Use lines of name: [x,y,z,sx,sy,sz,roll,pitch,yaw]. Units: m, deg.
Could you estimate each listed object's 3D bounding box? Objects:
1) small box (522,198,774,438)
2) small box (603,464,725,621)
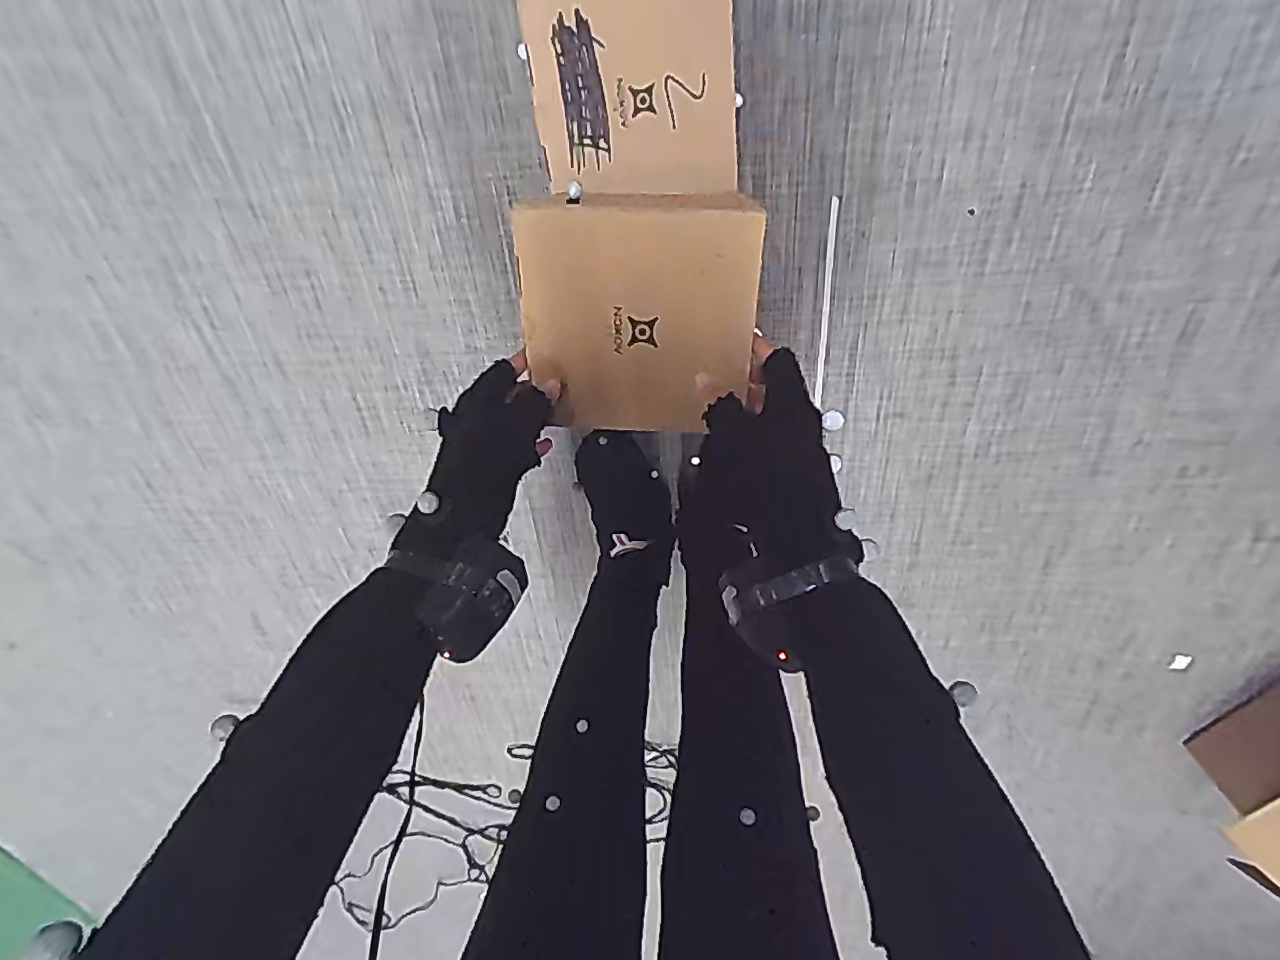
small box: [0.011,-0.150,0.475,0.179,0.176,0.168,3,121,5]
small box: [0.029,0.093,0.835,0.168,0.176,0.179,-3,122,-3]
